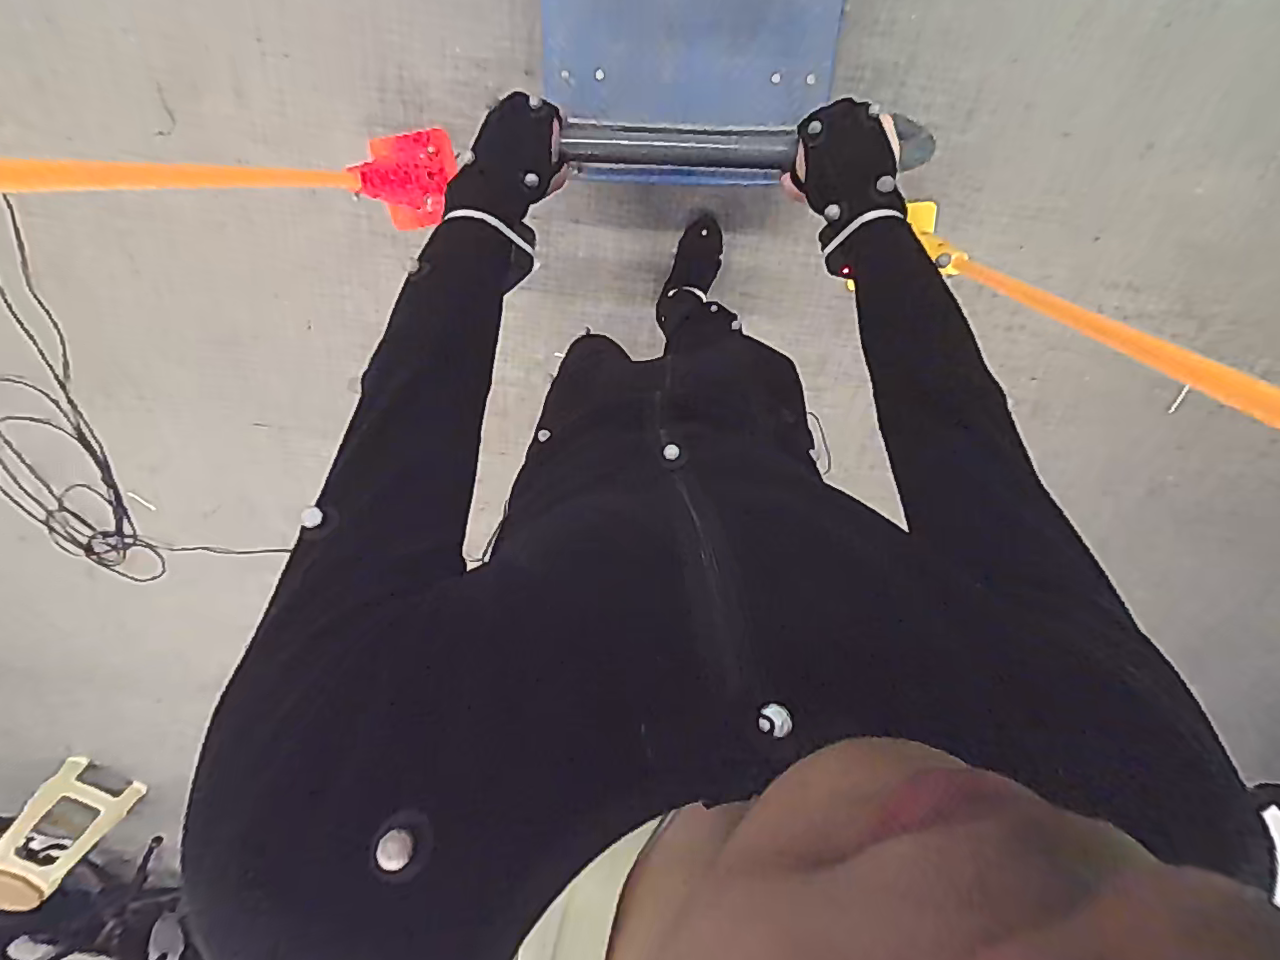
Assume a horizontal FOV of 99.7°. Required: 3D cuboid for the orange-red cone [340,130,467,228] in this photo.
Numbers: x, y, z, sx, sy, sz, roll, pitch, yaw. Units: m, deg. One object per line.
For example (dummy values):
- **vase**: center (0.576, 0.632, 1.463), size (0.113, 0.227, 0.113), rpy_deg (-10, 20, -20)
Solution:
- **orange-red cone**: center (-0.541, -0.649, 1.169), size (0.199, 0.360, 0.198), rpy_deg (-6, 118, 6)
